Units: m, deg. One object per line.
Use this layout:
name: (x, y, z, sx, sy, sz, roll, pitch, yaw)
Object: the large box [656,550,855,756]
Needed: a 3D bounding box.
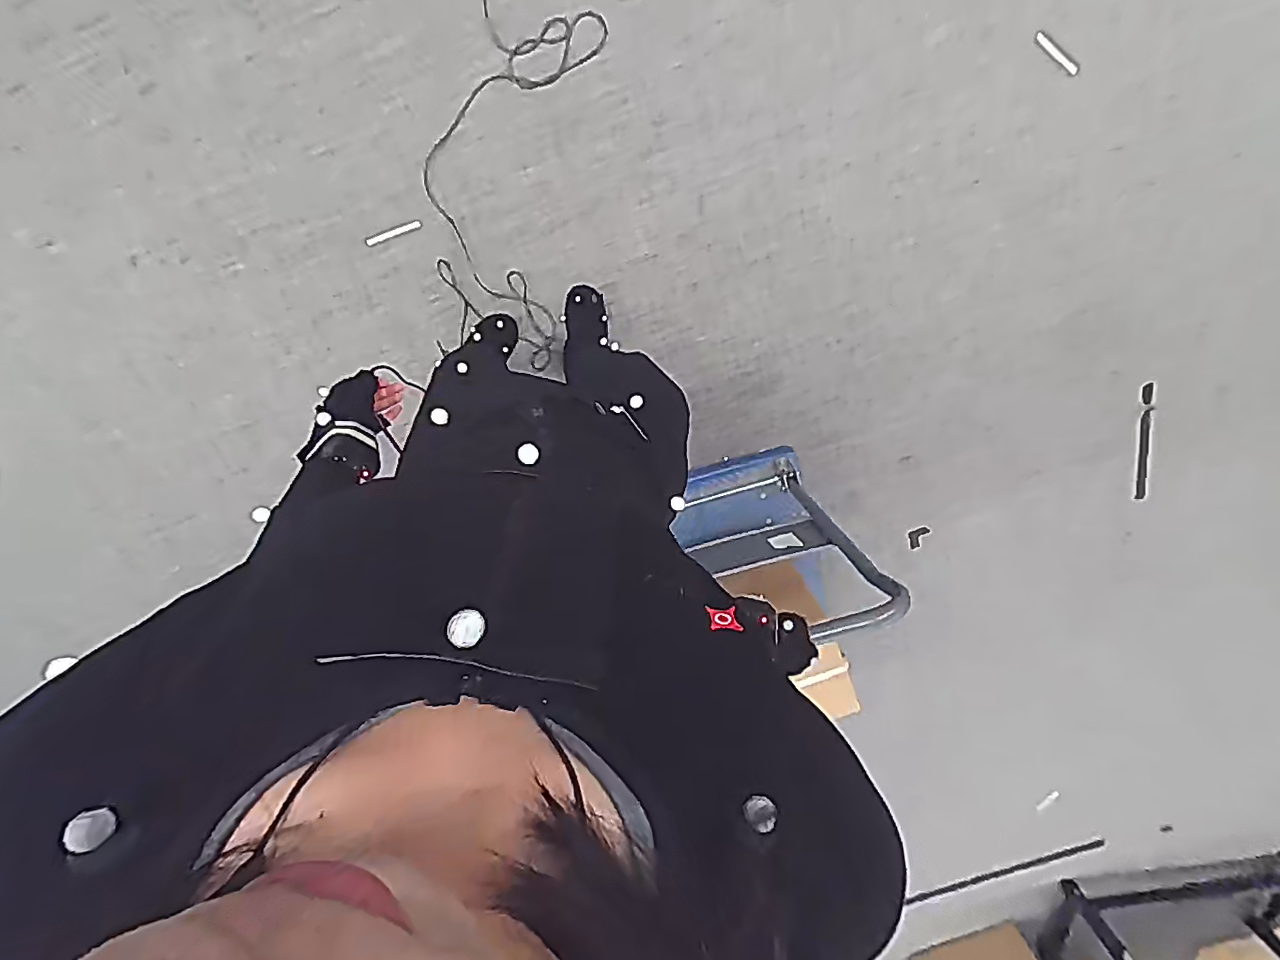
large box: (0.292, 0.449, 1.450, 0.408, 0.320, 0.320, -23, 112, 6)
